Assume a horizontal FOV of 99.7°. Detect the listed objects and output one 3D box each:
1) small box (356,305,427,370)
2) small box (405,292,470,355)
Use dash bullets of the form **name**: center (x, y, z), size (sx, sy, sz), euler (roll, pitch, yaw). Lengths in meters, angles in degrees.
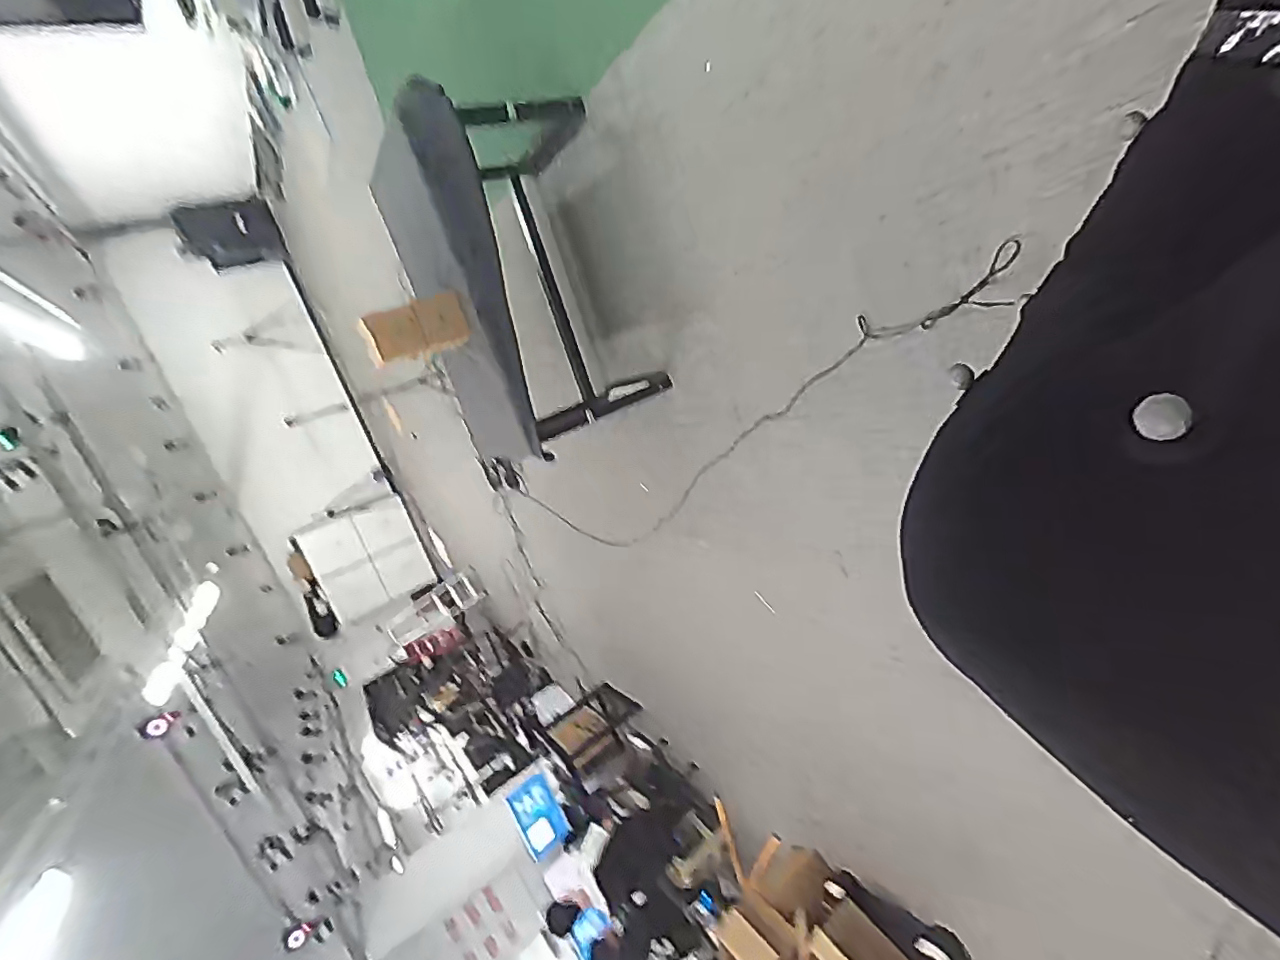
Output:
- **small box**: center (-0.880, -0.508, 1.921), size (0.179, 0.176, 0.168), euler (2, 115, 57)
- **small box**: center (-0.753, -0.581, 1.993), size (0.168, 0.176, 0.179), euler (-4, 109, 58)
